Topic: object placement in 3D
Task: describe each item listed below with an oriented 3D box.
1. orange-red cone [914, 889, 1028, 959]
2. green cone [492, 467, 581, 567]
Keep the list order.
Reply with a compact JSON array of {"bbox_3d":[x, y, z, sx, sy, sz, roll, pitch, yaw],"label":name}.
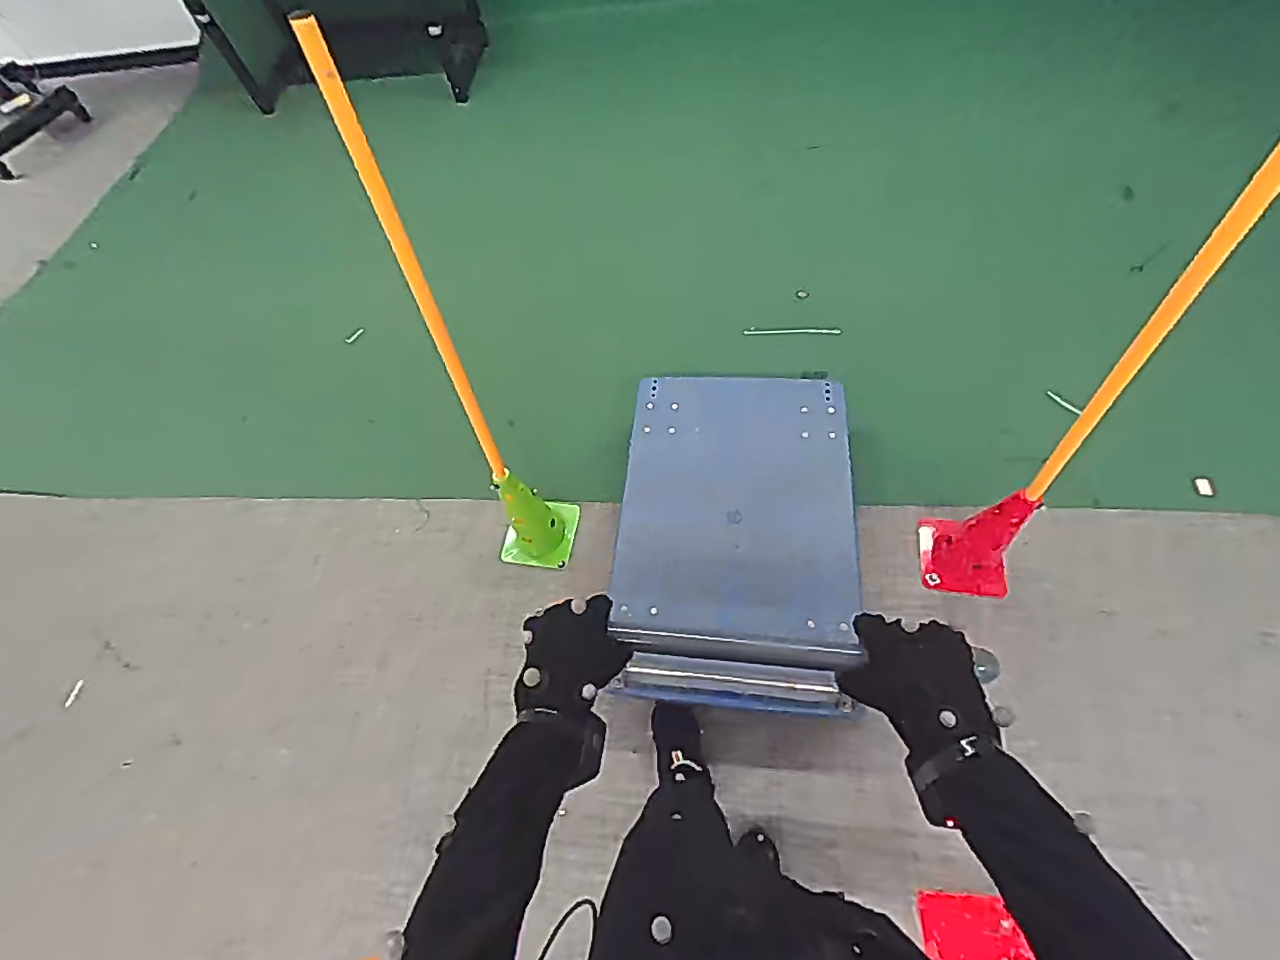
[{"bbox_3d":[0.622,0.839,0.898,0.199,0.360,0.198,0,61,9],"label":"orange-red cone"},{"bbox_3d":[-0.305,0.069,1.435,0.202,0.368,0.200,5,62,11],"label":"green cone"}]
